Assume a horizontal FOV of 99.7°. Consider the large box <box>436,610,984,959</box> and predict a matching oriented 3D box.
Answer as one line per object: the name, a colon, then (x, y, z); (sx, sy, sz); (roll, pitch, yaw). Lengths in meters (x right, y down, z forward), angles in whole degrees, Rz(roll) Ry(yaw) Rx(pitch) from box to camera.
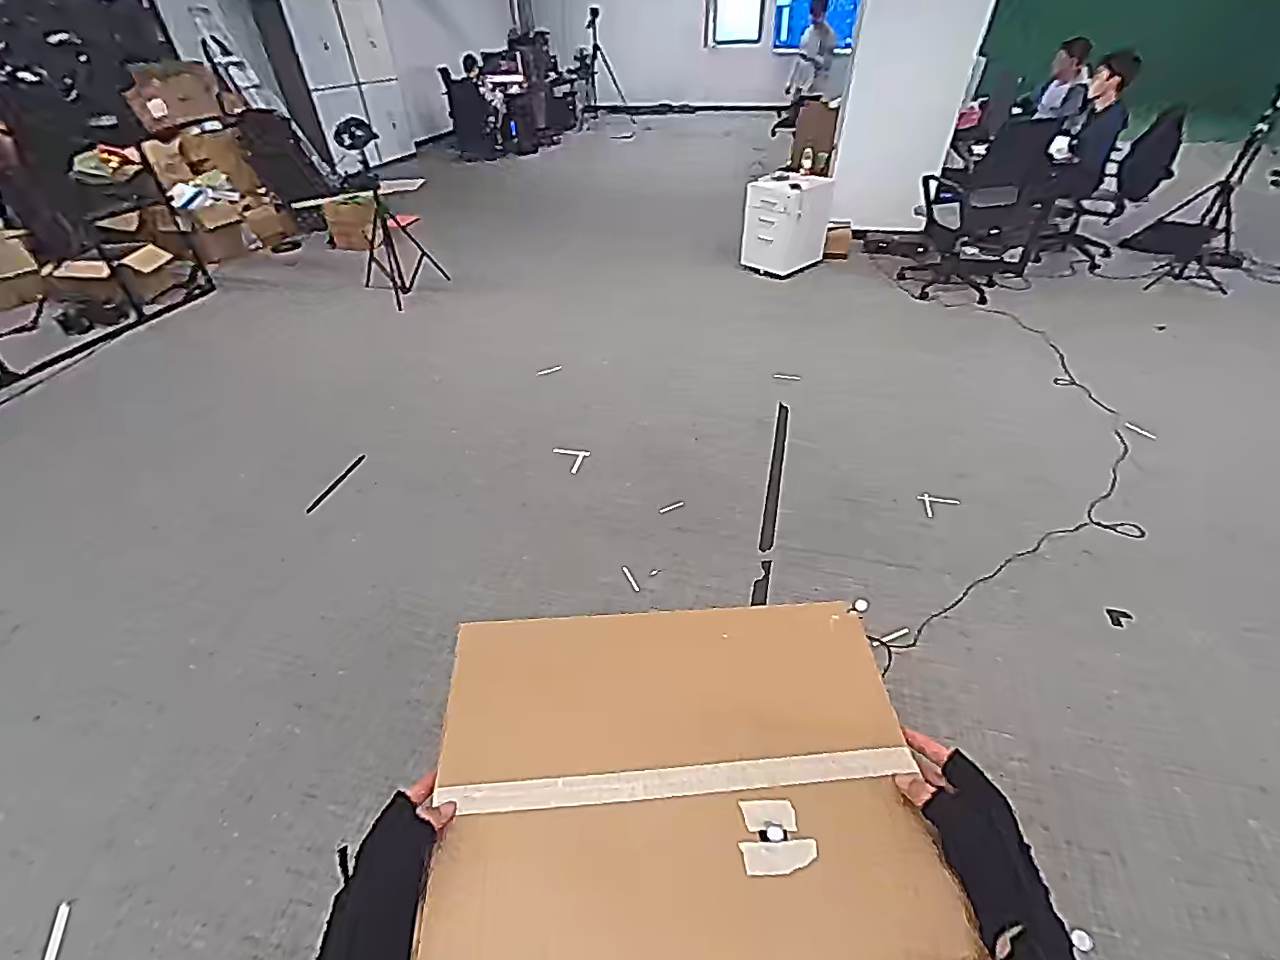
large box: (0.036, 0.361, 0.574); (0.408, 0.320, 0.320); (-2, 49, -4)
